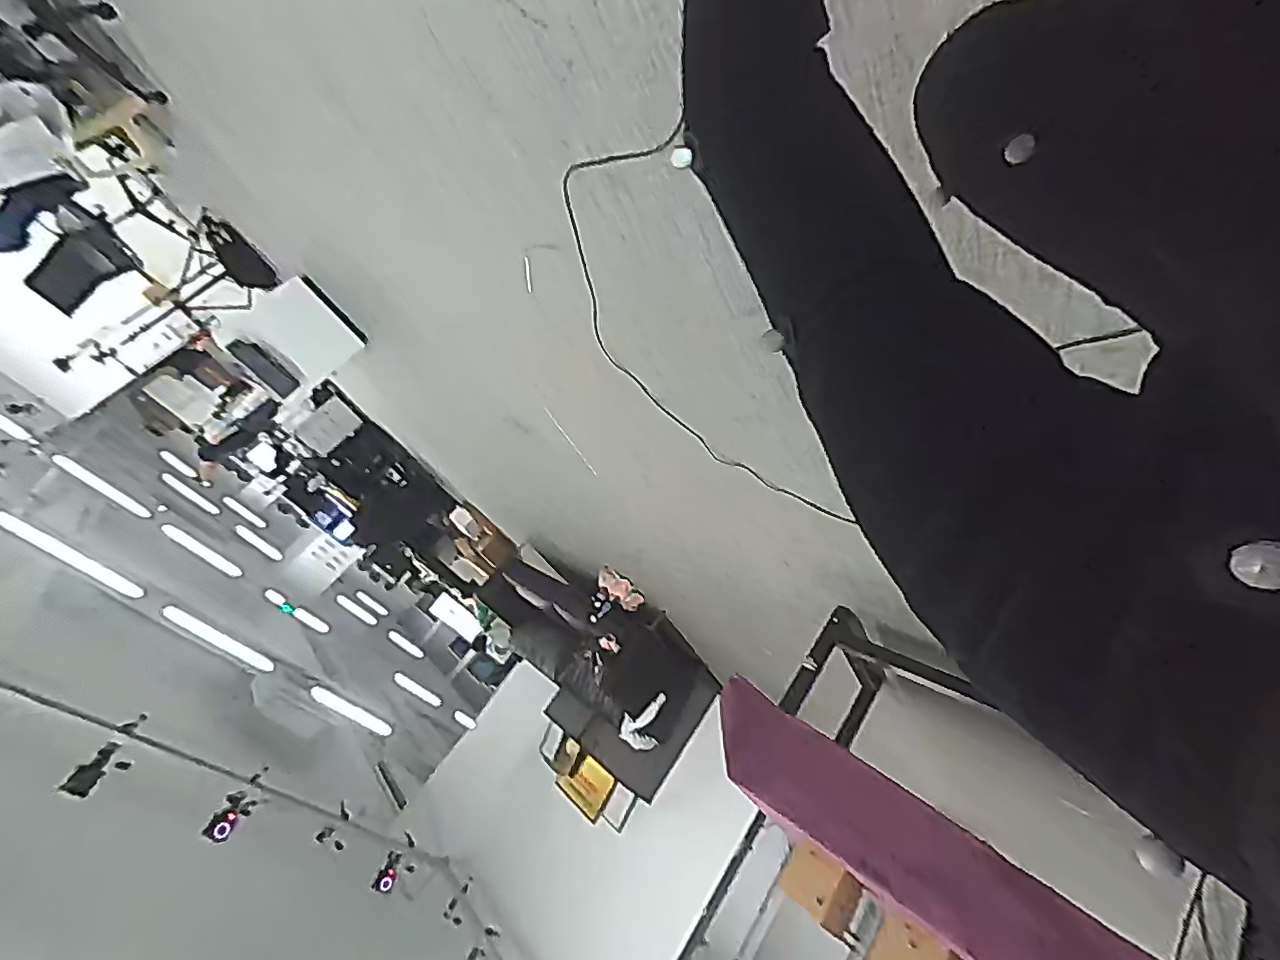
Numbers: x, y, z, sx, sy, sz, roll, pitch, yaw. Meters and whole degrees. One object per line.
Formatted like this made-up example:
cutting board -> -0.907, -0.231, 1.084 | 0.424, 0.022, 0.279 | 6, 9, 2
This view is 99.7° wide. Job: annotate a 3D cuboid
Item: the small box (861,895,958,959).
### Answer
small box -> 0.756, 1.315, 1.508 | 0.168, 0.176, 0.179 | 8, 142, 54
